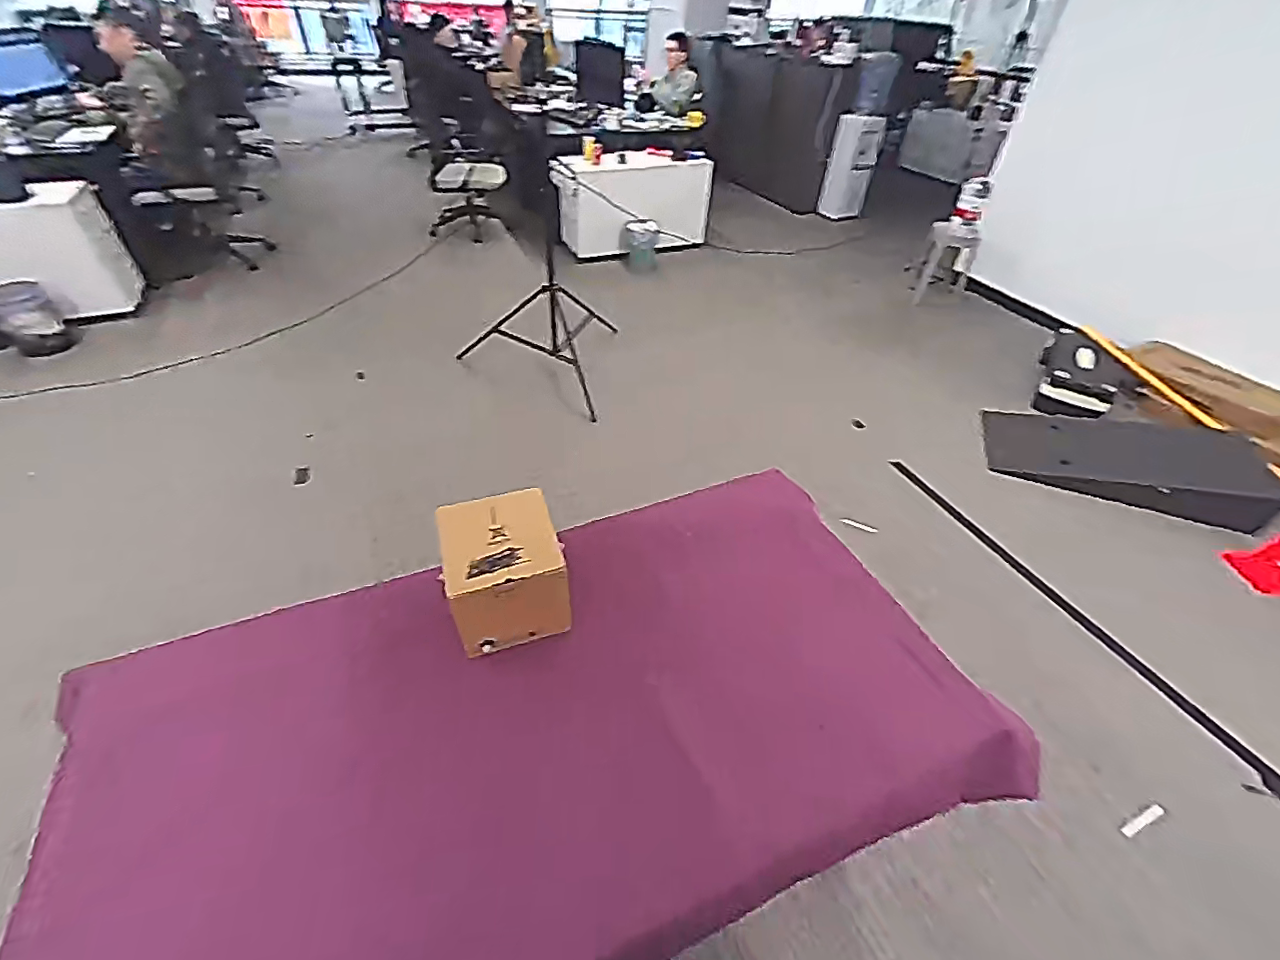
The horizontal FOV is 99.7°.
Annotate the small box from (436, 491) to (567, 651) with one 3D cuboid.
[{"bbox_3d":[-0.216,0.149,0.860,0.168,0.176,0.179,-12,45,-17],"label":"small box"}]
